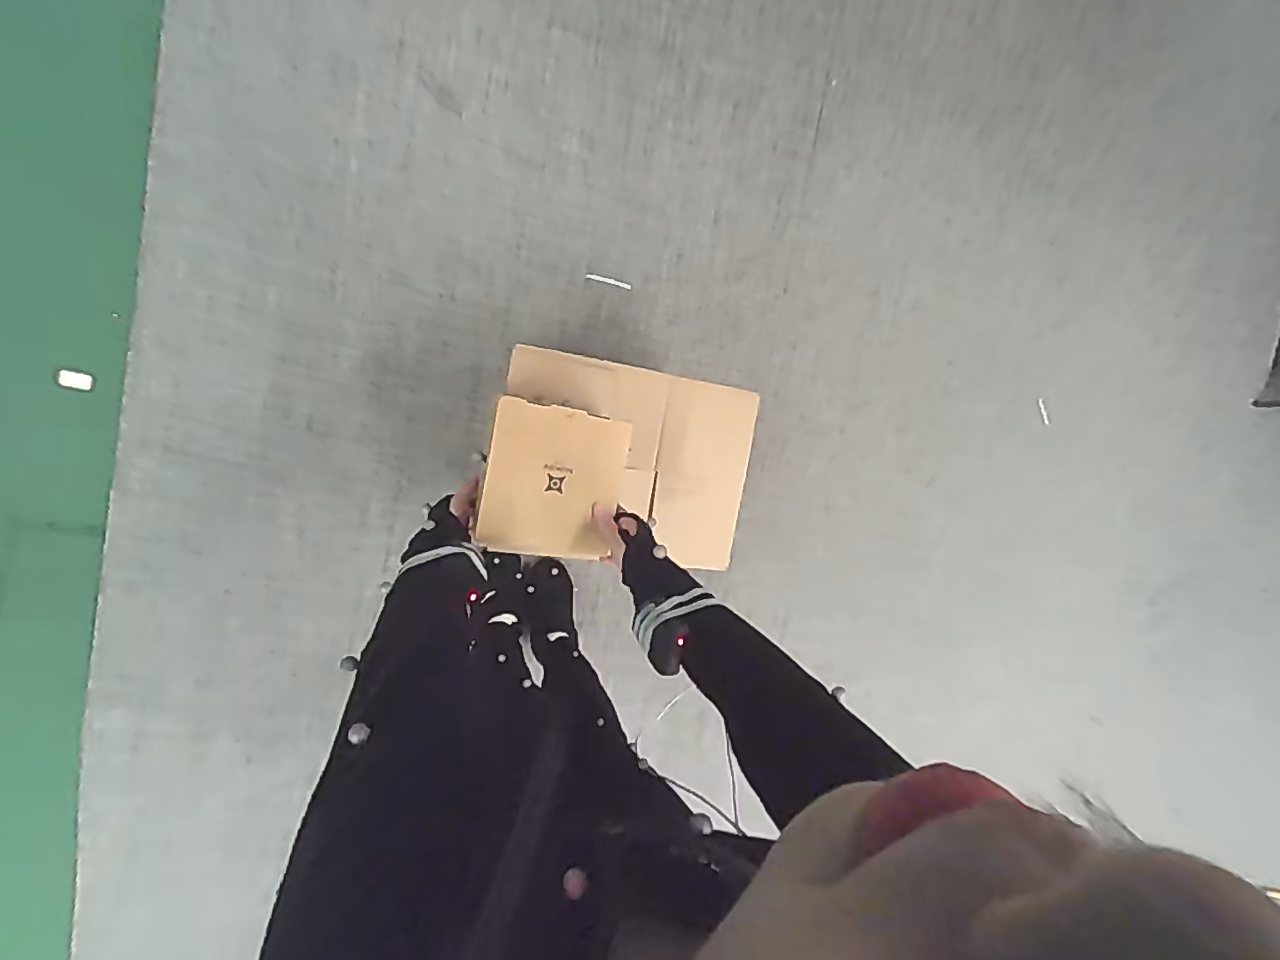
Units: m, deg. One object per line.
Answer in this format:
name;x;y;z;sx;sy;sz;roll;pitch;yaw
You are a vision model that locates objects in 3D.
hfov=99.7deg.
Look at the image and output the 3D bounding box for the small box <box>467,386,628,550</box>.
small box;-0.131;-0.022;0.723;0.168;0.176;0.179;11;96;-20
